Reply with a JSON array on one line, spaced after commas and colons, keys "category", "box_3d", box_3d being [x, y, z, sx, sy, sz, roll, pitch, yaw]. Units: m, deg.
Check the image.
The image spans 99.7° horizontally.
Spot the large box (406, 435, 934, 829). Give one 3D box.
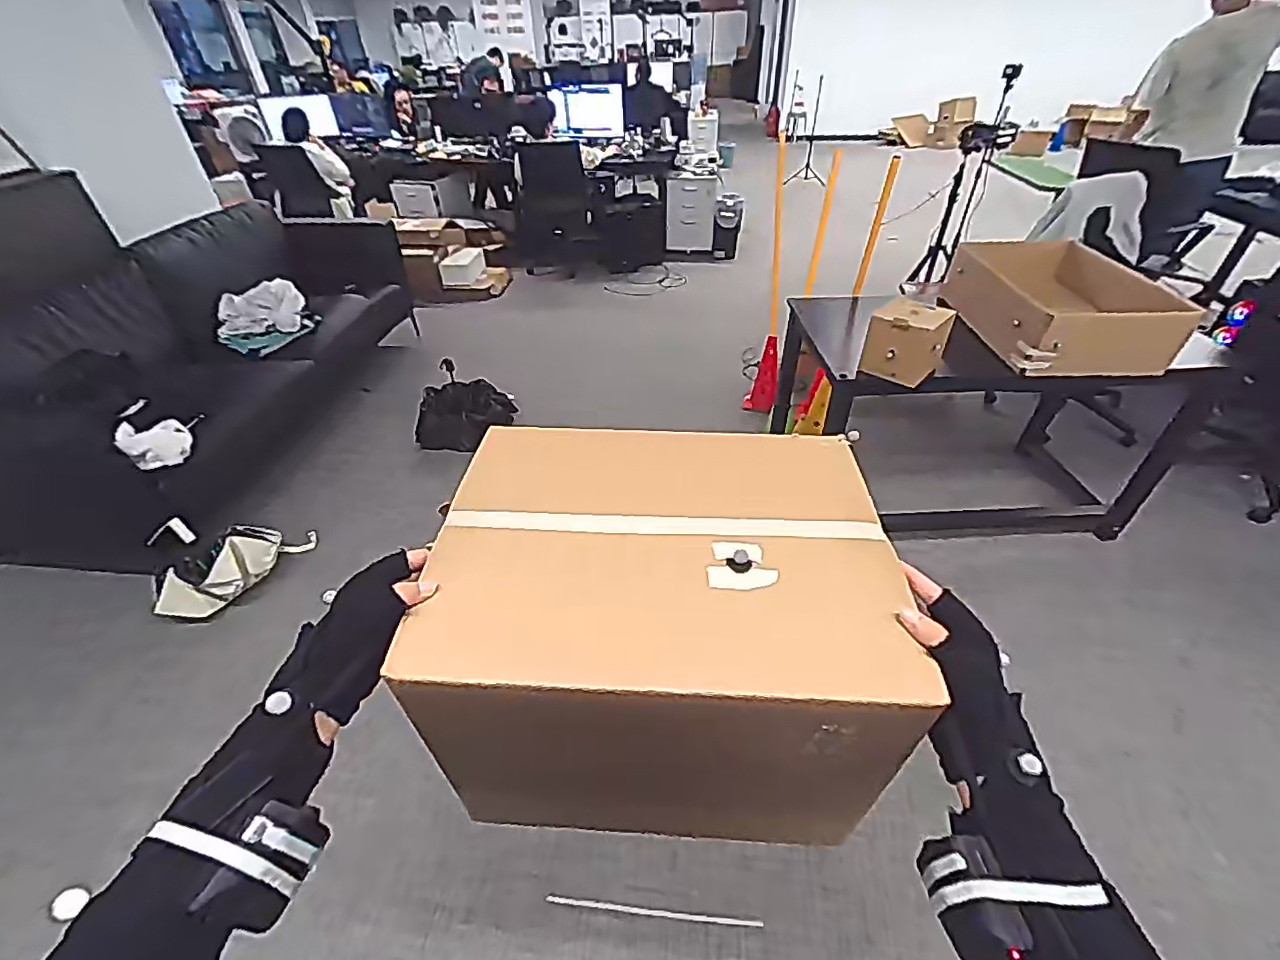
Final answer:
[{"category": "large box", "box_3d": [0.023, 0.164, 0.607, 0.408, 0.320, 0.320, 2, 41, 2]}]
